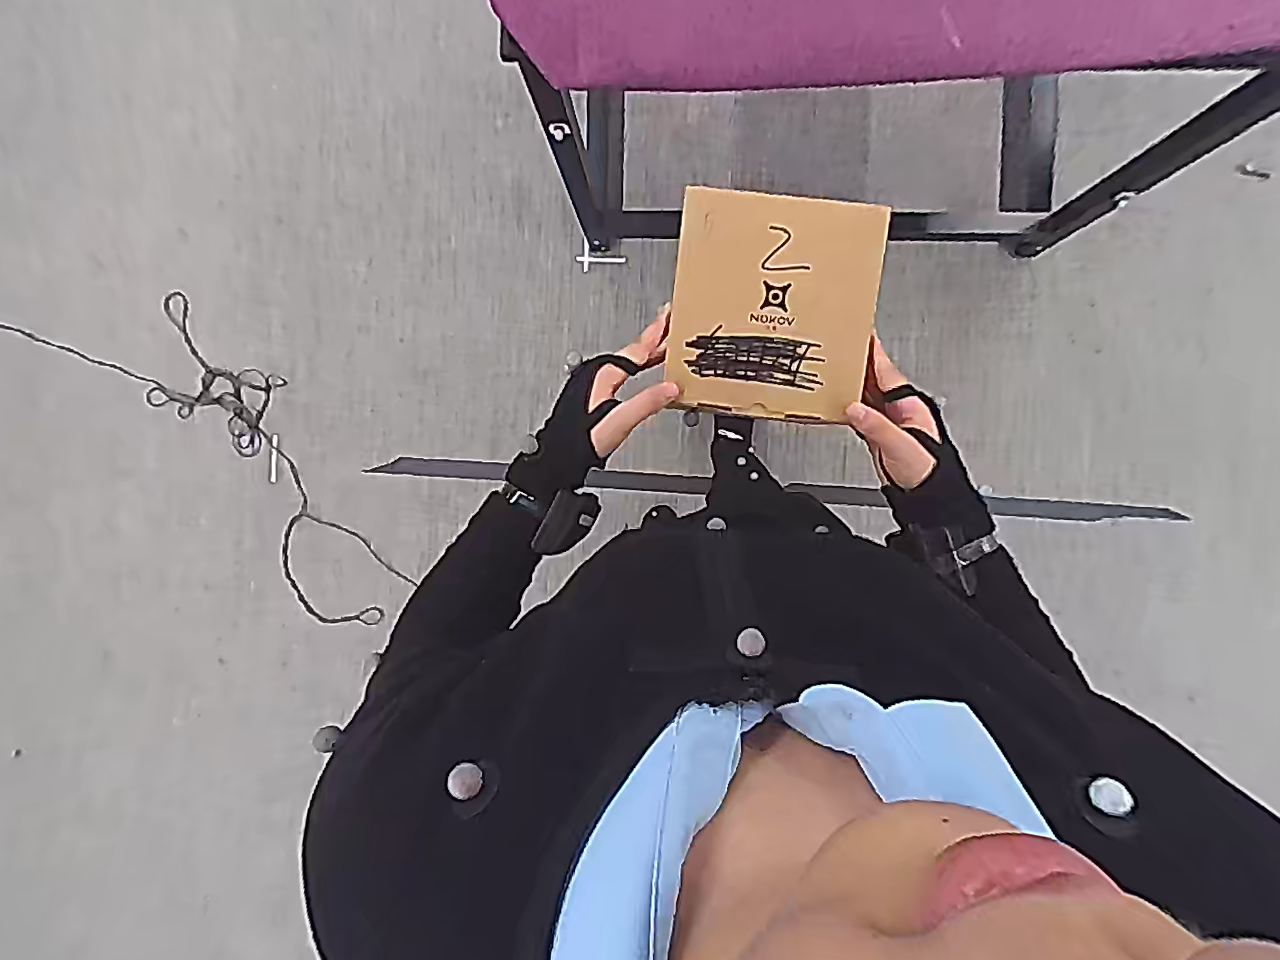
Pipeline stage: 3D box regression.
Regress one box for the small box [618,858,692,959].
[{"bbox_3d":[0.040,1.126,1.390,0.168,0.176,0.179,7,91,2],"label":"small box"}]
